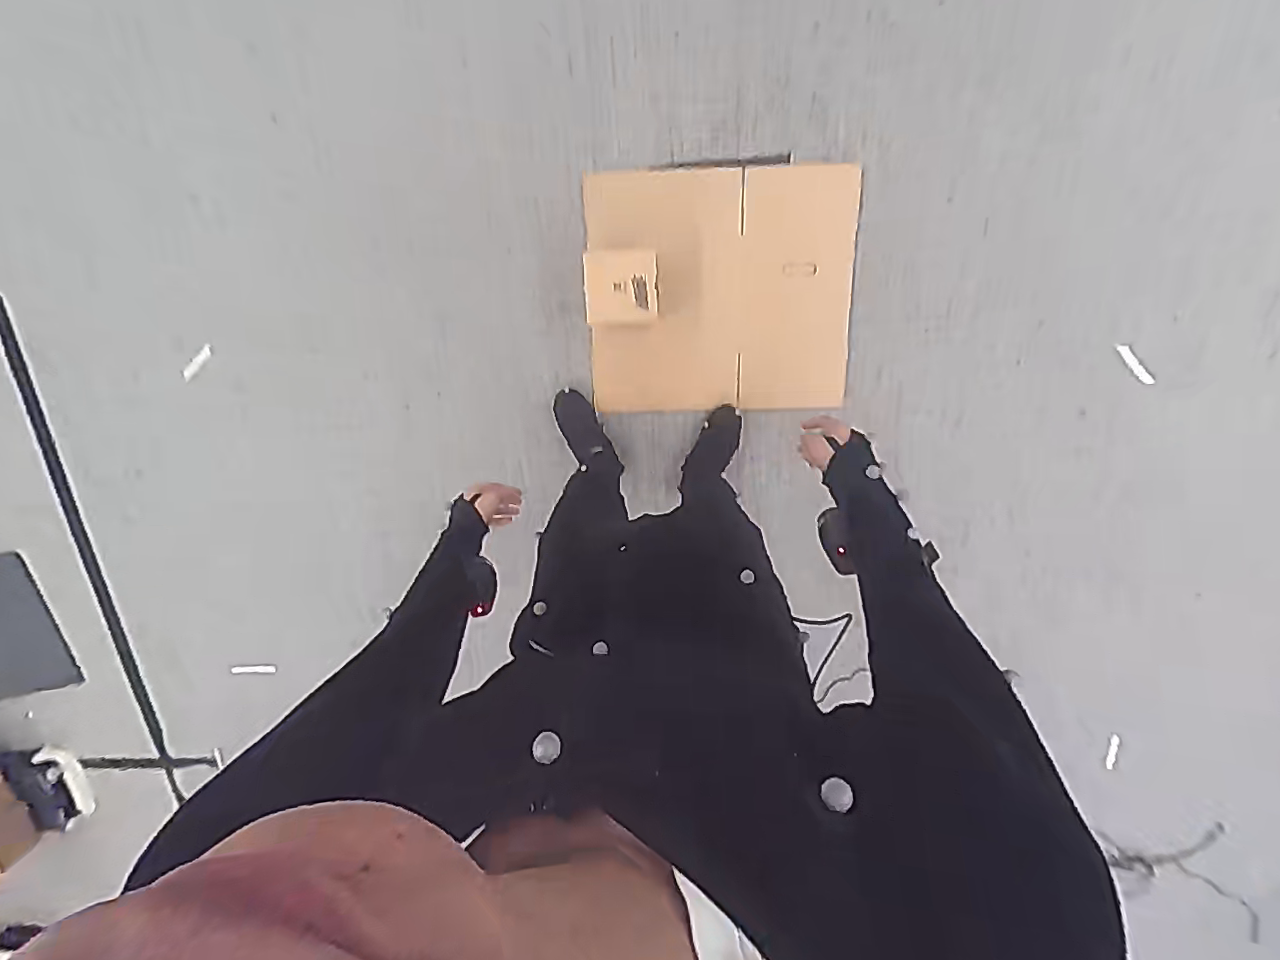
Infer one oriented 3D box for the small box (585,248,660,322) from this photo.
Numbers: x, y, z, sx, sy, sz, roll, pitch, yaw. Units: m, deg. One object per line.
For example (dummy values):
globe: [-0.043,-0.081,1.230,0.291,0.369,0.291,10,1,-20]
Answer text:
small box: [-0.040,-0.488,1.361,0.179,0.176,0.168,-1,107,3]
